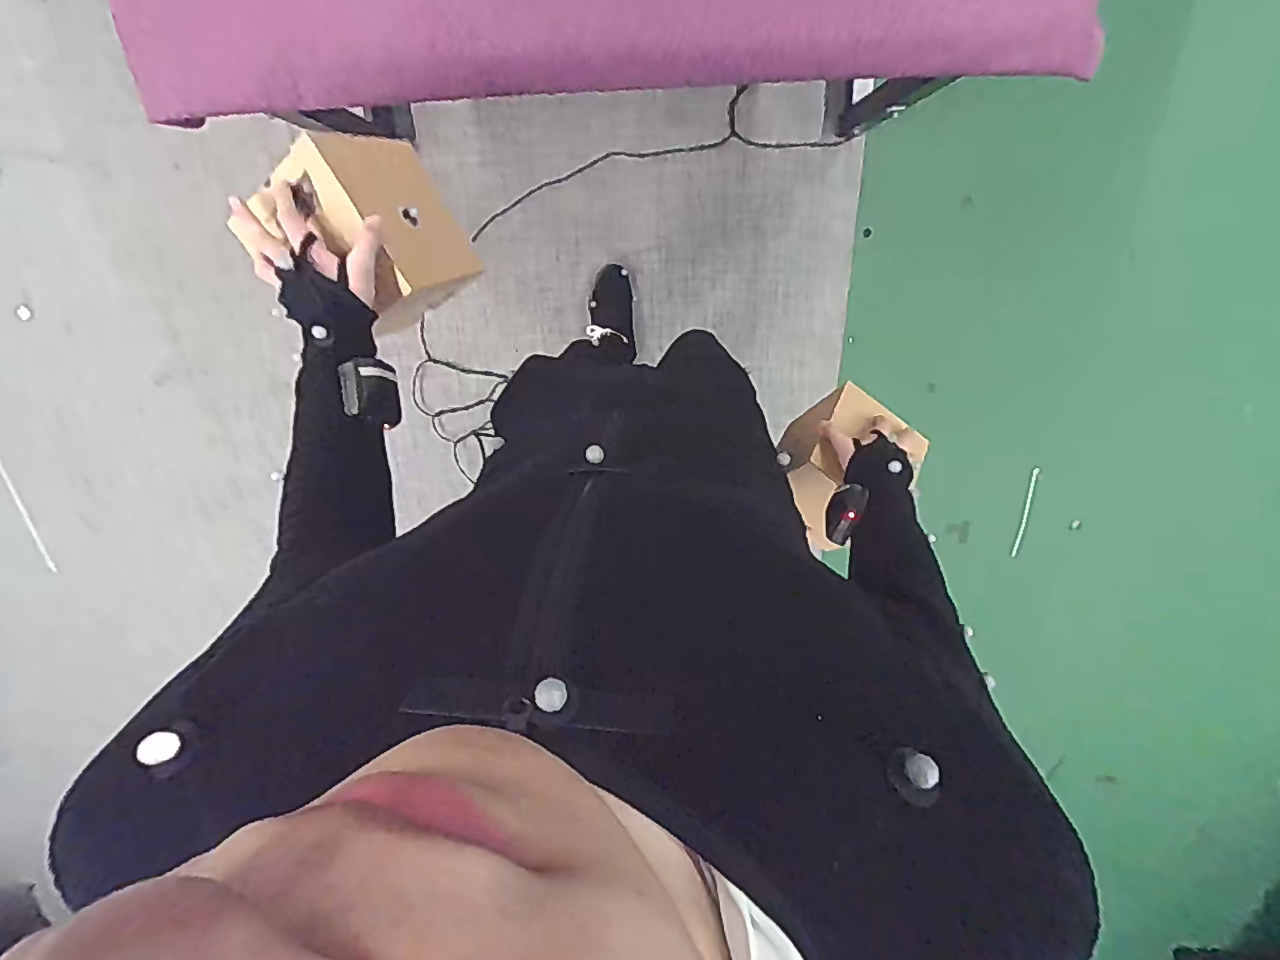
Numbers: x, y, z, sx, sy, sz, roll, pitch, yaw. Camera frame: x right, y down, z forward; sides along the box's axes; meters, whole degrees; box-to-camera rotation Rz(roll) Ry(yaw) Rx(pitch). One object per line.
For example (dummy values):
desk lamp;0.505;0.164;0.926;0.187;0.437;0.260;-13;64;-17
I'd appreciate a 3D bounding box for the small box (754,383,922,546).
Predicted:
small box;0.311;-0.016;0.877;0.168;0.176;0.179;36;63;-4

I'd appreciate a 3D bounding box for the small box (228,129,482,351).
small box;-0.334;-0.290;0.664;0.168;0.176;0.179;-22;110;27
